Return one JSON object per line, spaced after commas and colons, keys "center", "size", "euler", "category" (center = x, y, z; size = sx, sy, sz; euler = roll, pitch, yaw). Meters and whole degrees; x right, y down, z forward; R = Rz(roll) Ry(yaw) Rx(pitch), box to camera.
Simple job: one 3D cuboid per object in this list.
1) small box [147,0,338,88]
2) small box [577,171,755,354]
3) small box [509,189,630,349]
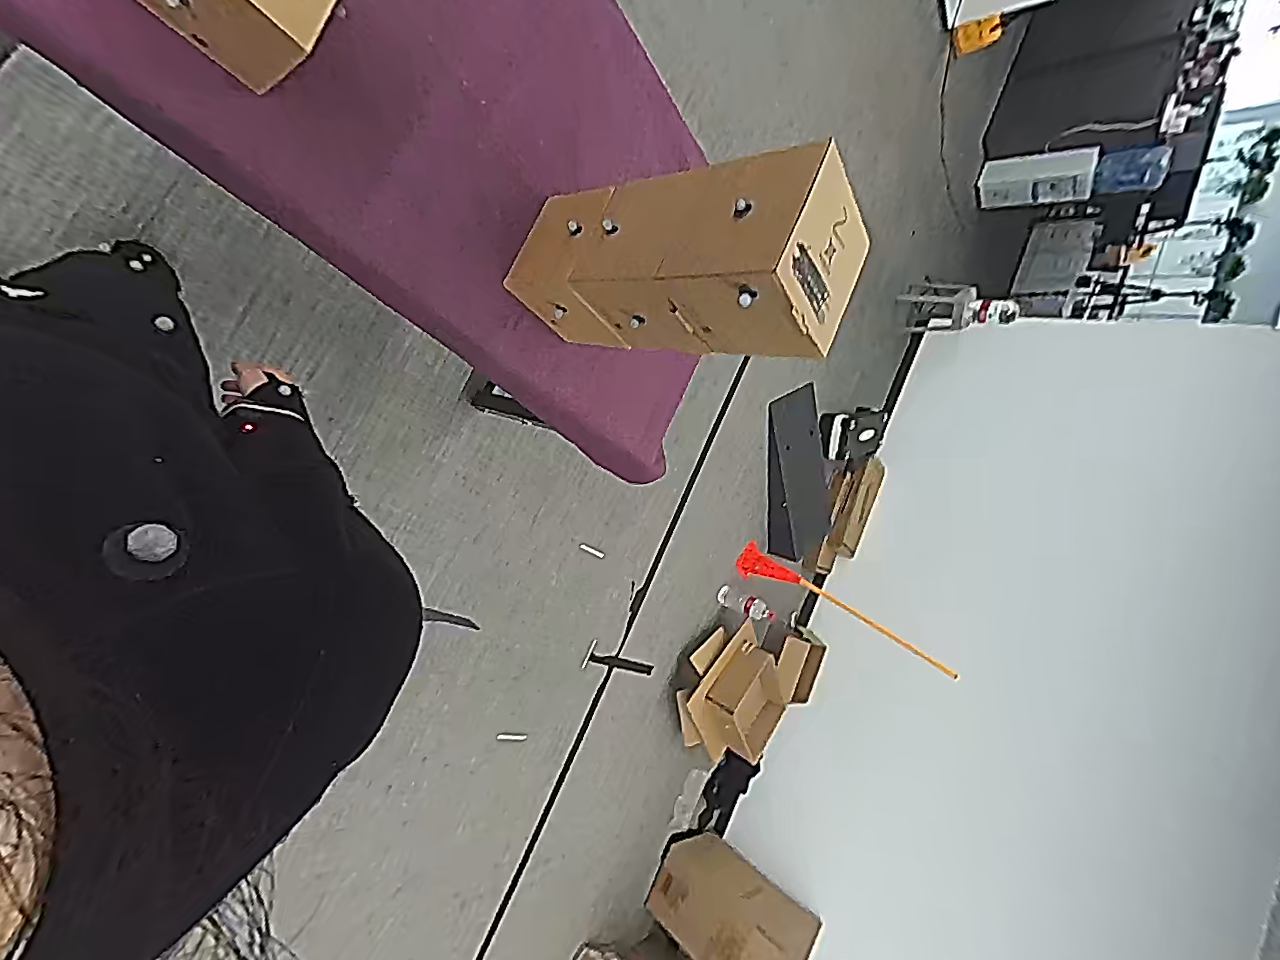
{"center": [-0.378, -0.513, 0.499], "size": [0.168, 0.176, 0.179], "euler": [29, 80, -50], "category": "small box"}
{"center": [0.033, -0.306, 0.789], "size": [0.168, 0.176, 0.179], "euler": [36, 76, -48], "category": "small box"}
{"center": [-0.088, -0.339, 0.894], "size": [0.168, 0.176, 0.179], "euler": [35, 76, -48], "category": "small box"}
